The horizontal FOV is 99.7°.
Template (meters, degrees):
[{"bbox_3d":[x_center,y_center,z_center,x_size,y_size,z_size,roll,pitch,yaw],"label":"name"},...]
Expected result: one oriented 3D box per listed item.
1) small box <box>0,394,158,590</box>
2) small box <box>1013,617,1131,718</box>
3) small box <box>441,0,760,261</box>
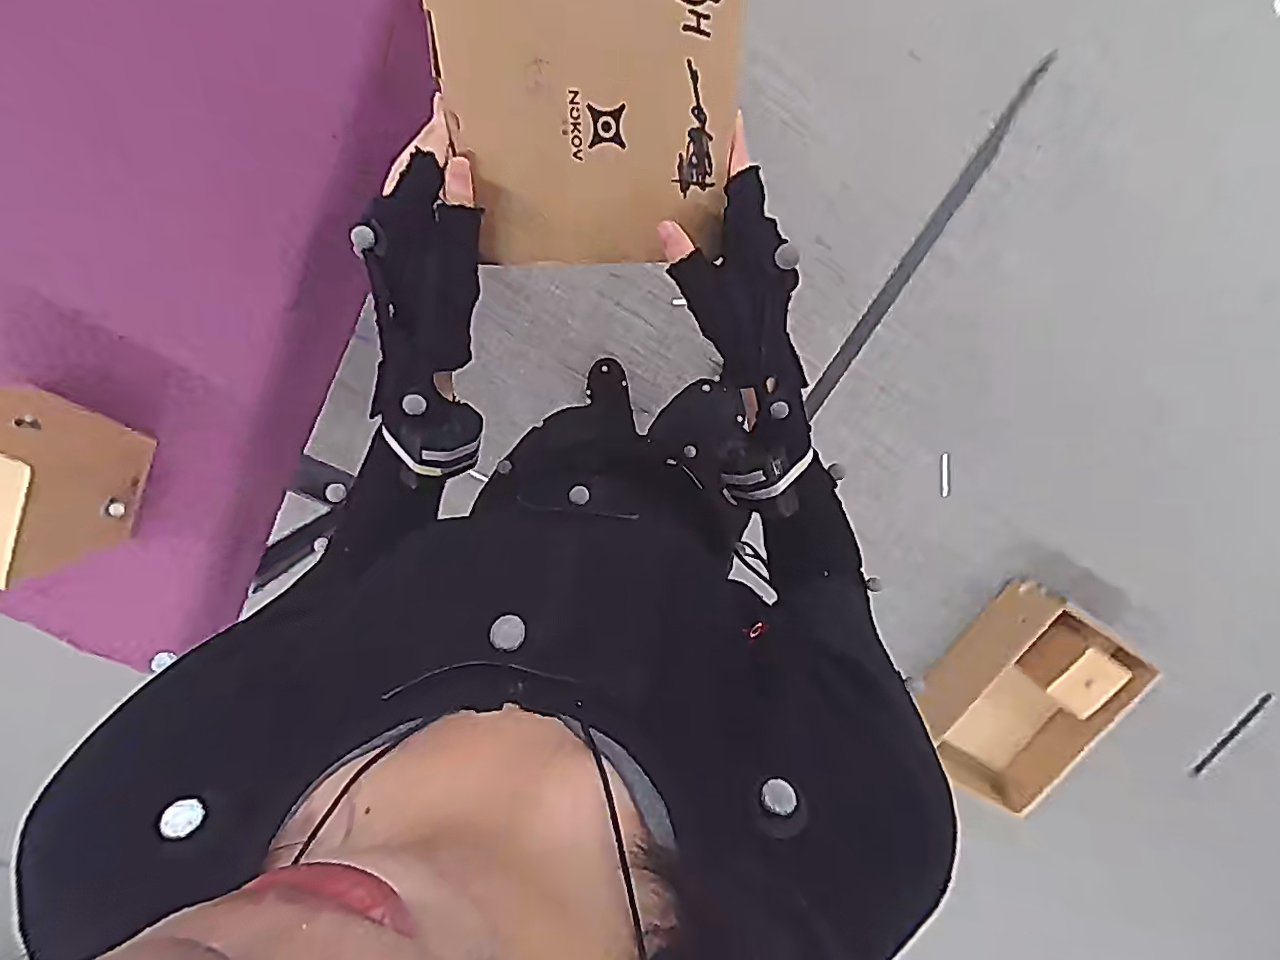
[{"bbox_3d":[-0.771,0.003,0.670,0.179,0.176,0.168,25,102,-8],"label":"small box"},{"bbox_3d":[1.227,0.535,1.557,0.168,0.176,0.179,34,101,-9],"label":"small box"},{"bbox_3d":[-0.026,-0.268,0.388,0.179,0.176,0.168,-1,129,-4],"label":"small box"}]
